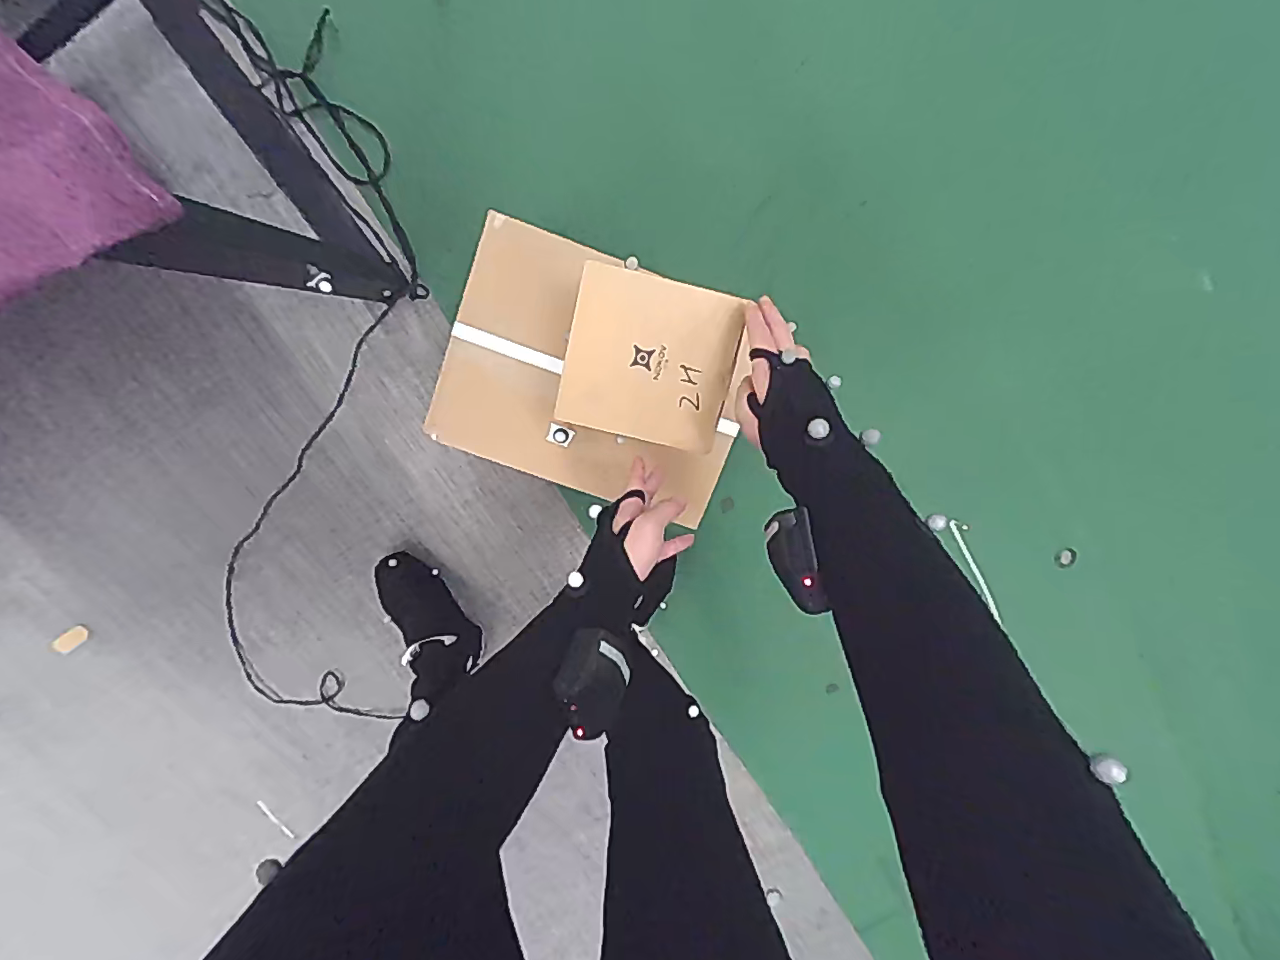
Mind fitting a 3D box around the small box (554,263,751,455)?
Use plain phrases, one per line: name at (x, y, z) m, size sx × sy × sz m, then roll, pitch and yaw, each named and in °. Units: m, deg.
small box at (0.009, -0.139, 0.639) m, size 0.179 × 0.176 × 0.168 m, roll 13°, pitch 102°, yaw -5°
